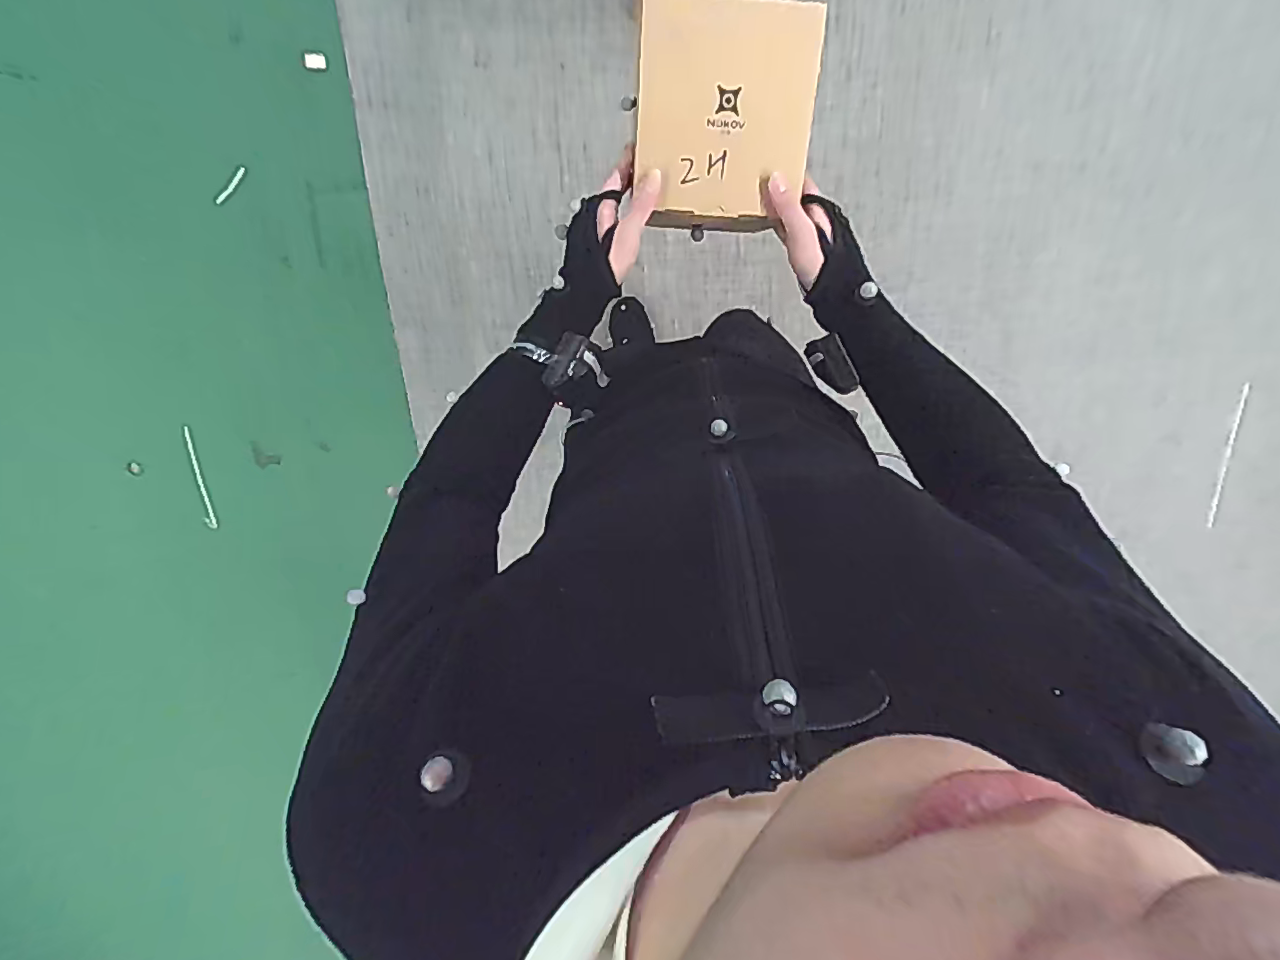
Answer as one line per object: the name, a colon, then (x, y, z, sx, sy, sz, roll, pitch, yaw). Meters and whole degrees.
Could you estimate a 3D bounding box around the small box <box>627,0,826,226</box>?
small box: (0.074, -0.376, 0.570, 0.168, 0.176, 0.179, 2, 111, -4)
